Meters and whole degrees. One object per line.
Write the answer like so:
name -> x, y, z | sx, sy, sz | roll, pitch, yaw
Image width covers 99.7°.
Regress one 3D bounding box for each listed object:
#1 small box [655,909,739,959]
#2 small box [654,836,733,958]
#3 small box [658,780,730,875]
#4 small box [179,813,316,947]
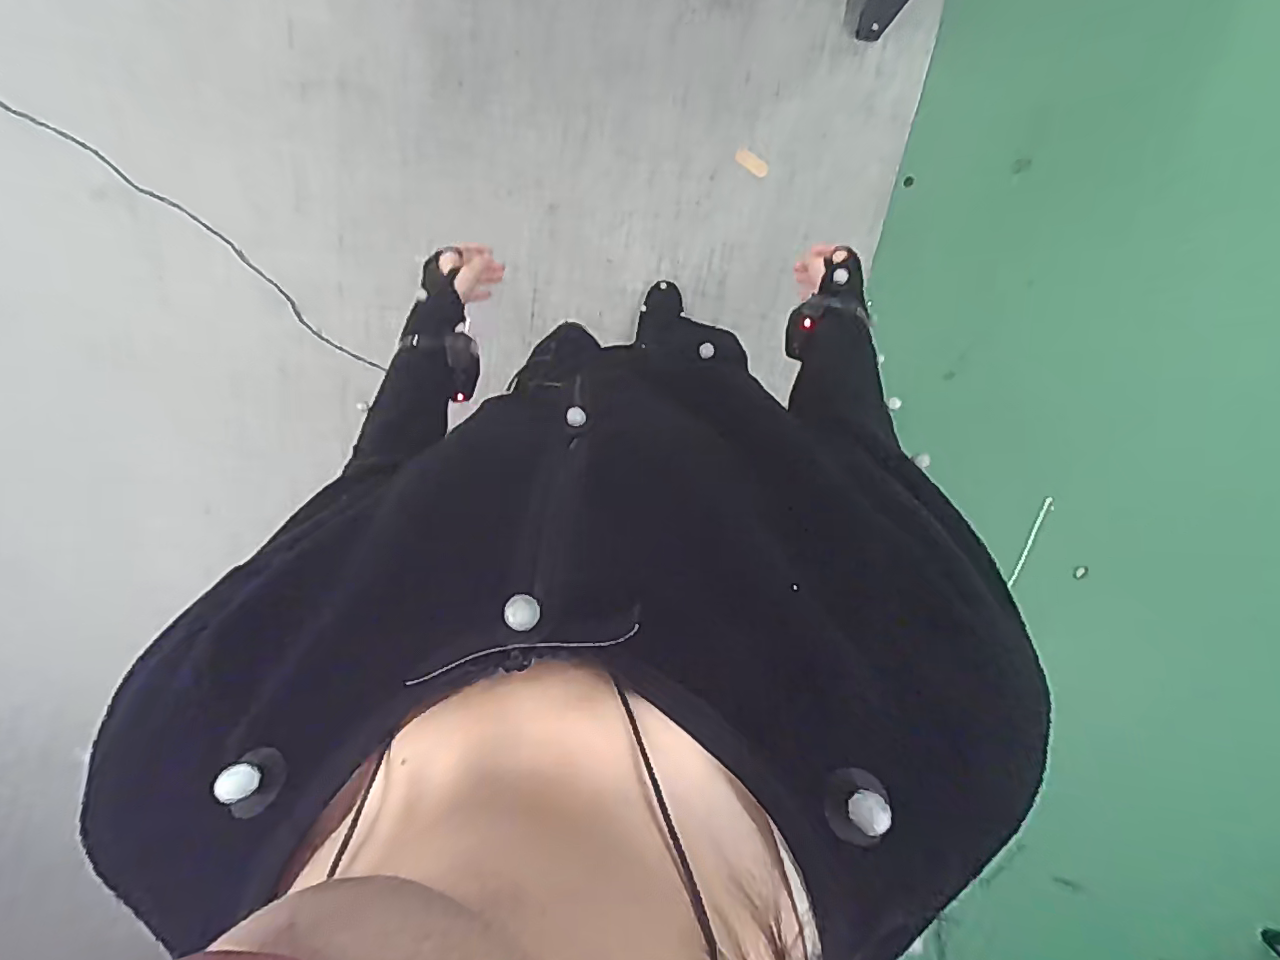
small box -> 0.114, 1.018, 1.098 | 0.168, 0.176, 0.179 | 0, 105, 3
small box -> 0.118, 0.966, 1.254 | 0.168, 0.176, 0.179 | 2, 107, 2
small box -> 0.136, 0.913, 1.408 | 0.179, 0.176, 0.168 | 0, 106, 3
small box -> -0.934, 0.956, 1.304 | 0.179, 0.176, 0.168 | 41, 105, -8
